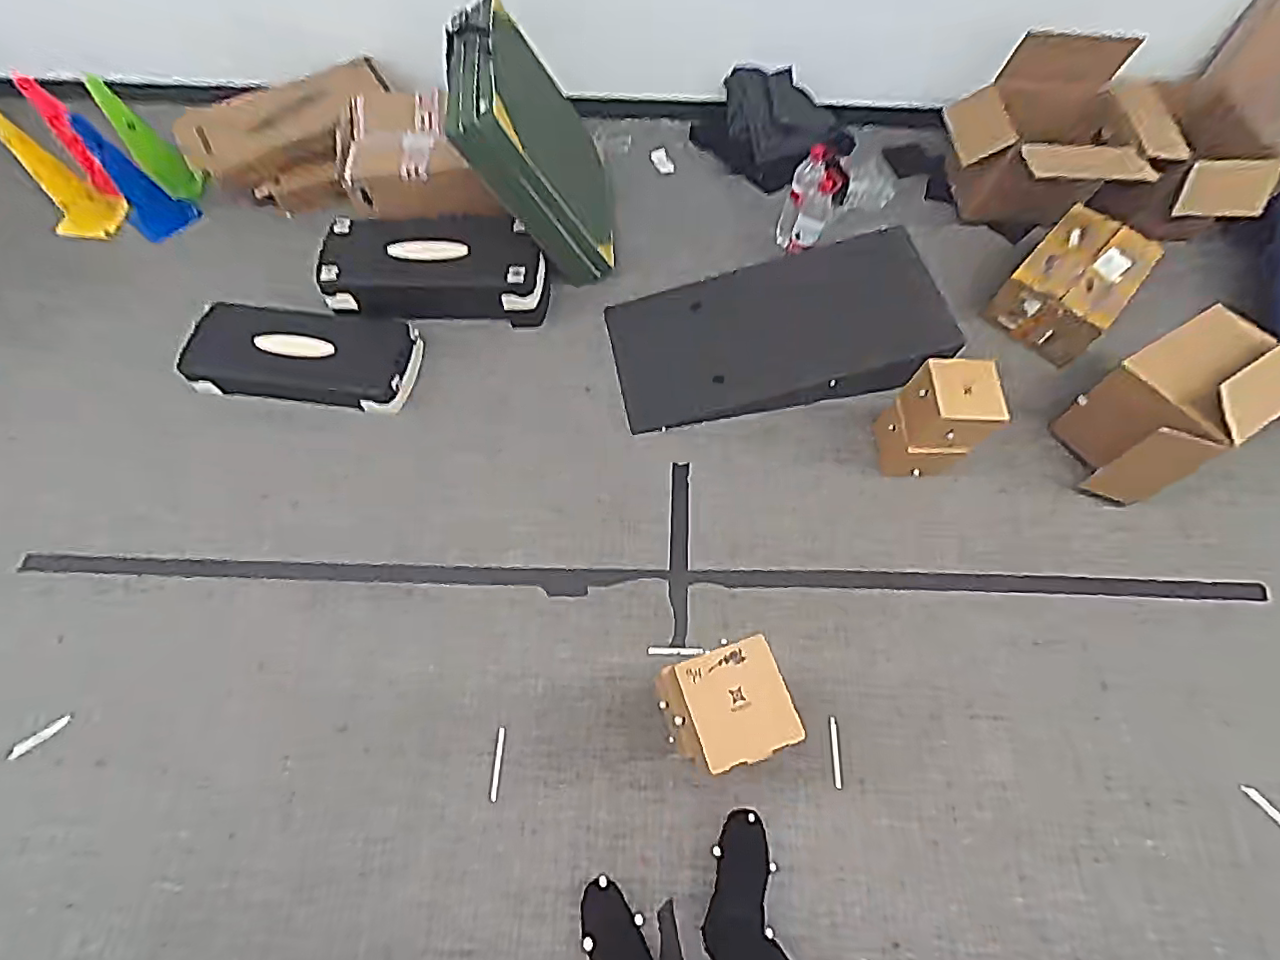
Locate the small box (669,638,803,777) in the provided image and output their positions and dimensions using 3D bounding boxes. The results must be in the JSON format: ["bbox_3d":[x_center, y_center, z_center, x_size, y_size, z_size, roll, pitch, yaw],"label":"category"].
[{"bbox_3d":[0.158,0.397,0.958,0.168,0.176,0.179,-17,68,-9],"label":"small box"}]
